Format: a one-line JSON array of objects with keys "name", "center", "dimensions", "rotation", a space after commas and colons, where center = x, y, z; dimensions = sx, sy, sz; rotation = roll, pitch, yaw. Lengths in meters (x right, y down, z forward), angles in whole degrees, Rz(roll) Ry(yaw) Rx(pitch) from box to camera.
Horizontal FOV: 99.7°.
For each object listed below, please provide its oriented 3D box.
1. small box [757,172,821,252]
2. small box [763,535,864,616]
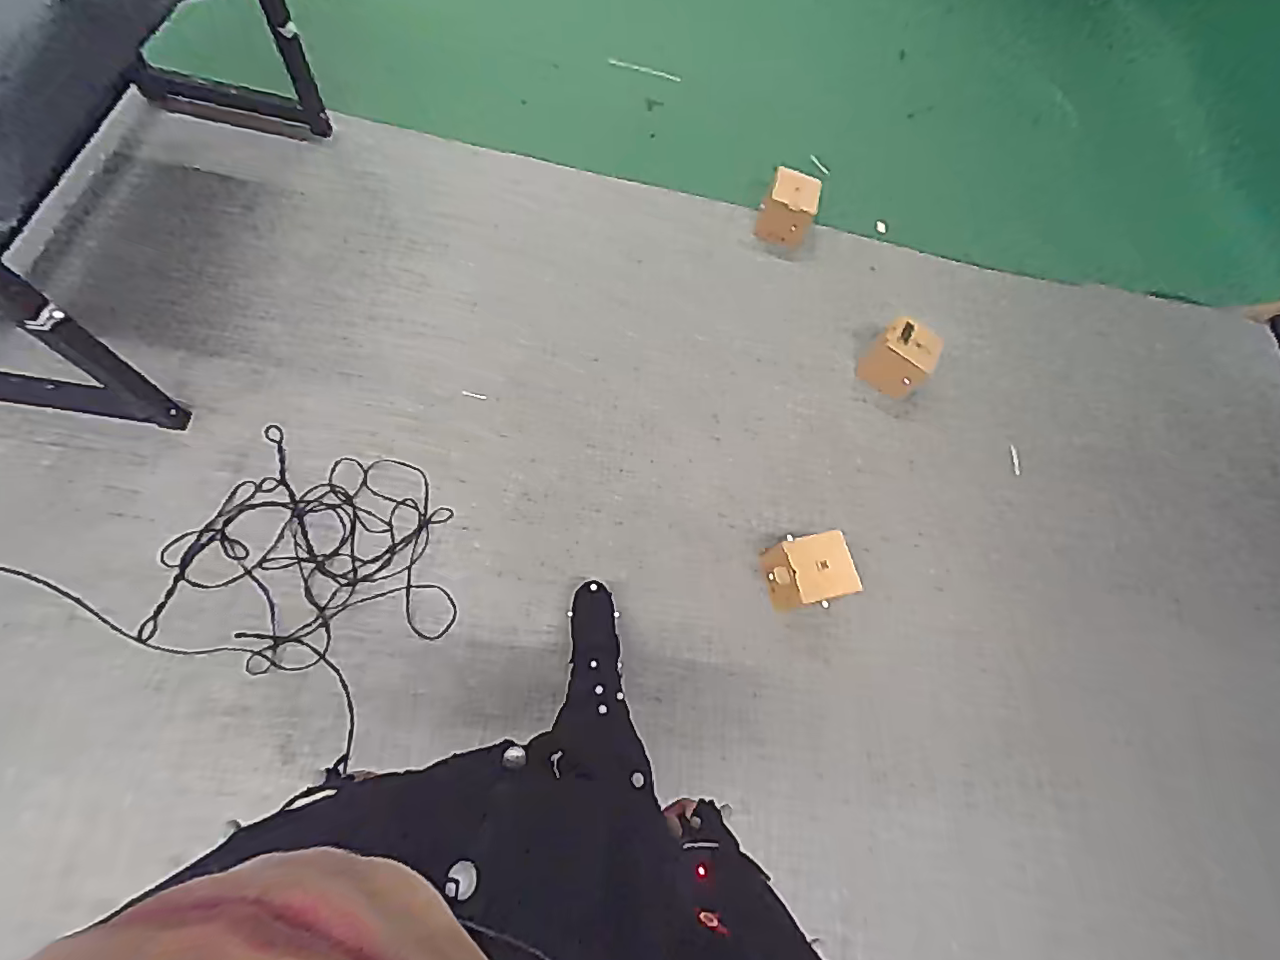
[{"name": "small box", "center": [0.539, -0.970, 1.972], "dimensions": [0.168, 0.176, 0.179], "rotation": [17, 65, -5]}, {"name": "small box", "center": [0.459, 0.261, 1.455], "dimensions": [0.179, 0.176, 0.168], "rotation": [-10, 70, -13]}]
